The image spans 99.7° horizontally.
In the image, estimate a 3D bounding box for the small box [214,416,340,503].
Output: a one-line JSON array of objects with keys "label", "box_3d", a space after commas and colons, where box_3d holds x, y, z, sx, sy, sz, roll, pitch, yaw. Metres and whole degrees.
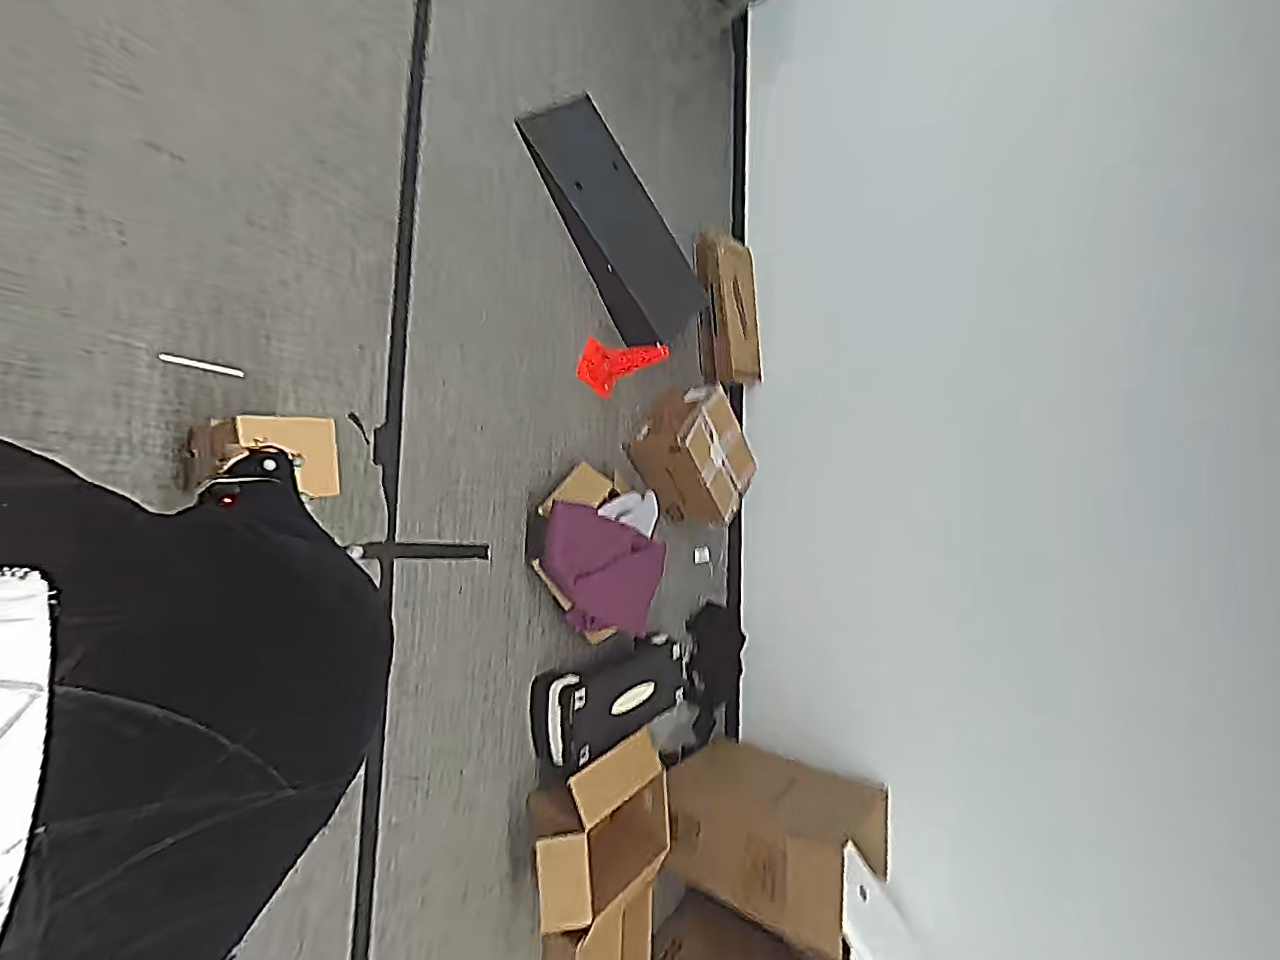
[{"label": "small box", "box_3d": [-0.759, -0.039, 1.133, 0.179, 0.176, 0.168, -4, 89, -51]}]

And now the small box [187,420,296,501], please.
[{"label": "small box", "box_3d": [-0.895, -0.036, 1.228, 0.179, 0.176, 0.168, 4, 84, -49]}]
